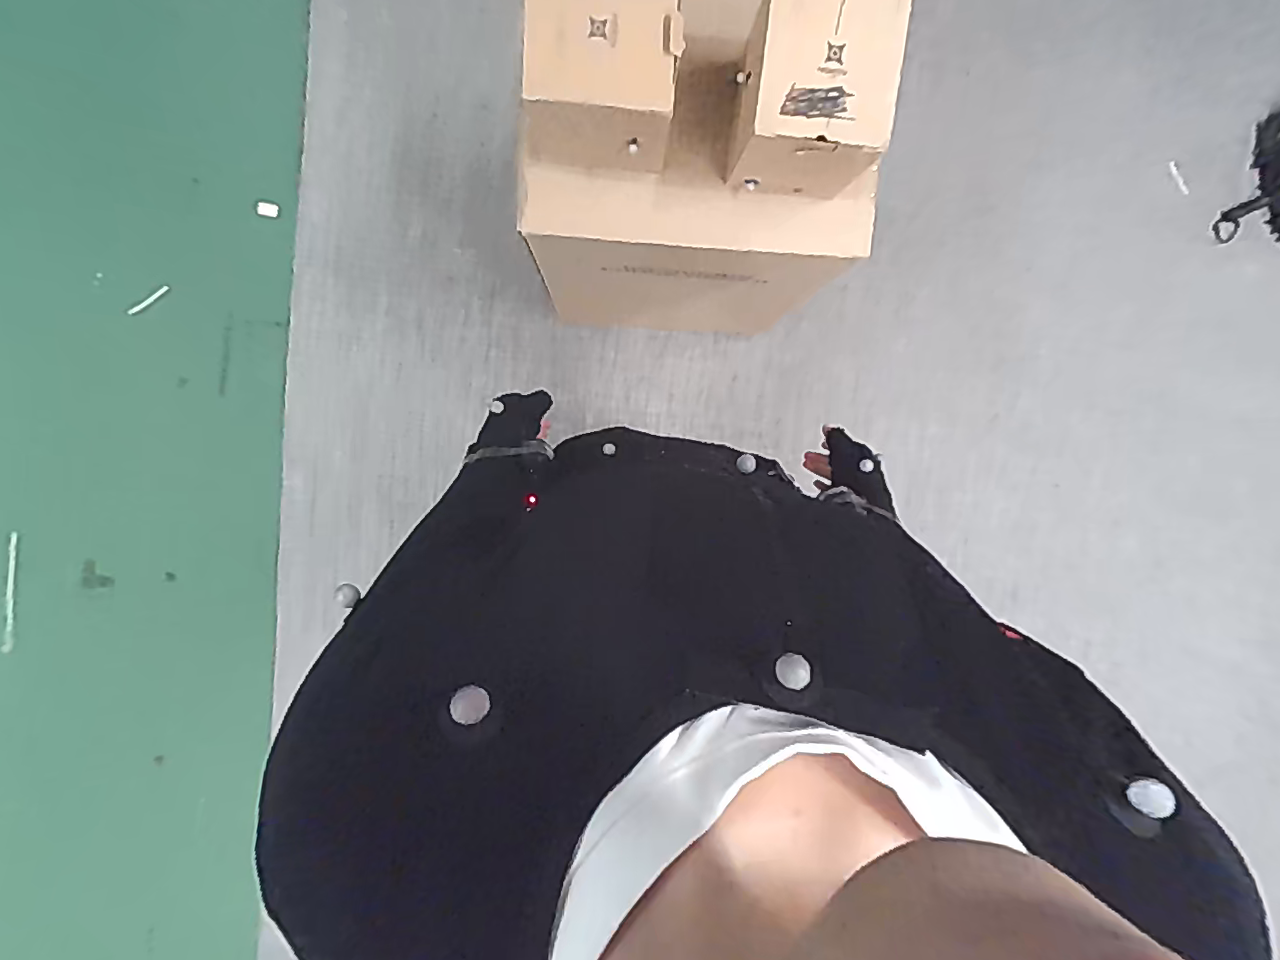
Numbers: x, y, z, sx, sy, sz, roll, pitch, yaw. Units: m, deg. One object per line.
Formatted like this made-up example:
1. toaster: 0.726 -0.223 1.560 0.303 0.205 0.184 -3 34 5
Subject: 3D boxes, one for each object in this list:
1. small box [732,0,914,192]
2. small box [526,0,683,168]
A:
1. small box: 0.222 -0.500 0.704 0.168 0.176 0.179 6 98 -3
2. small box: -0.042 -0.524 0.695 0.179 0.176 0.168 3 97 -1
